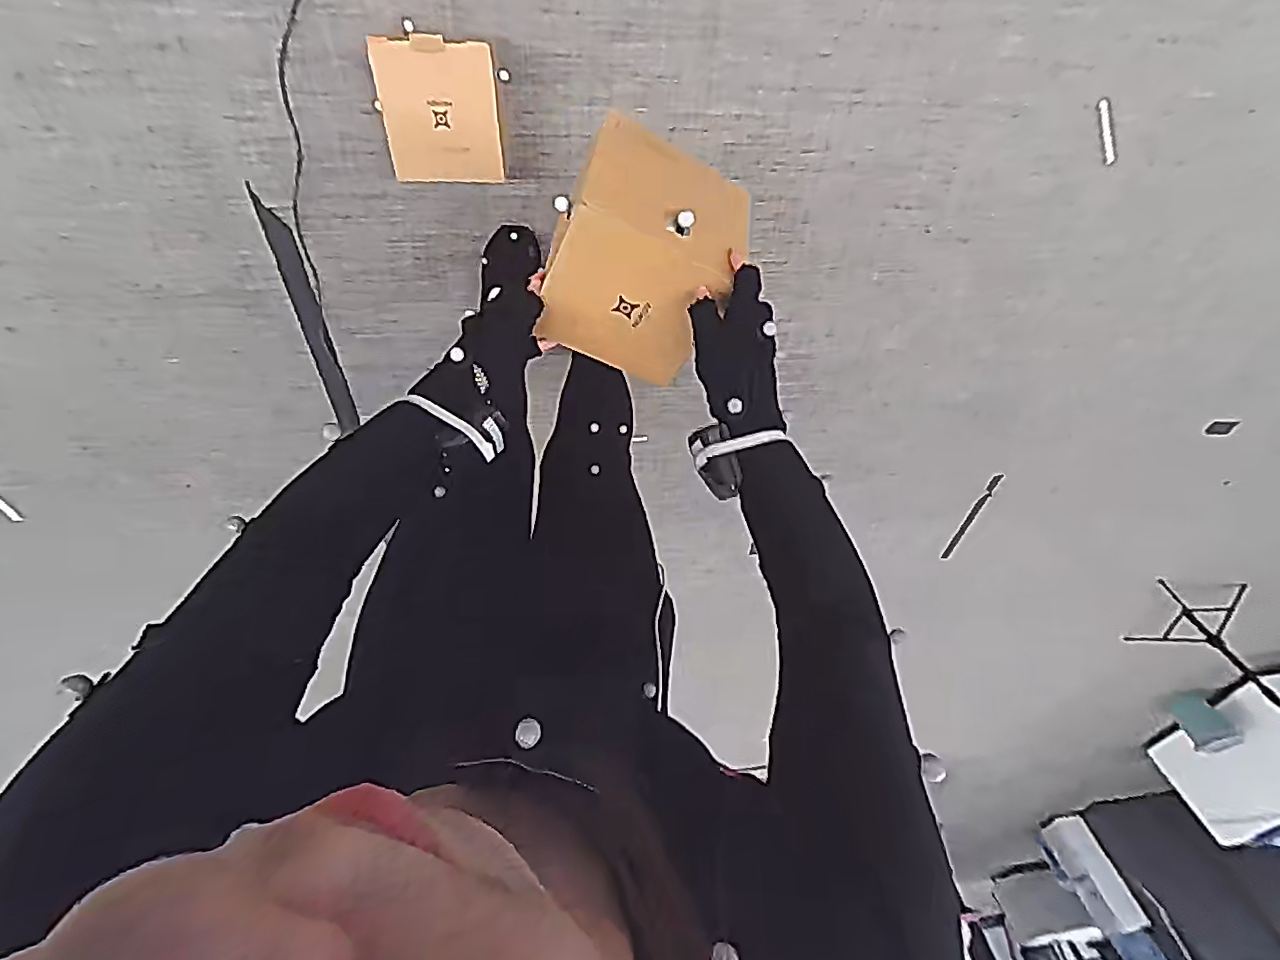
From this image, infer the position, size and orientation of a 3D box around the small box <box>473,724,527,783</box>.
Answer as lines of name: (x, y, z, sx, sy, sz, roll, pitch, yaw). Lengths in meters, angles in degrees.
small box: (-0.503, 1.003, 1.965, 0.168, 0.176, 0.179, -3, 133, -6)

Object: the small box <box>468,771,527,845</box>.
small box: (-0.481, 1.111, 1.842, 0.168, 0.176, 0.179, -5, 131, -5)

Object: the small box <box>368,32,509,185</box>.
small box: (-0.298, -0.580, 0.843, 0.168, 0.176, 0.179, -2, 132, -7)

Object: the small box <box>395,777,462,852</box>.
small box: (-0.700, 1.118, 1.811, 0.168, 0.176, 0.179, 0, 131, -8)

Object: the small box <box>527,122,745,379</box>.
small box: (-0.004, -0.250, 0.596, 0.179, 0.176, 0.168, 19, 146, -20)
